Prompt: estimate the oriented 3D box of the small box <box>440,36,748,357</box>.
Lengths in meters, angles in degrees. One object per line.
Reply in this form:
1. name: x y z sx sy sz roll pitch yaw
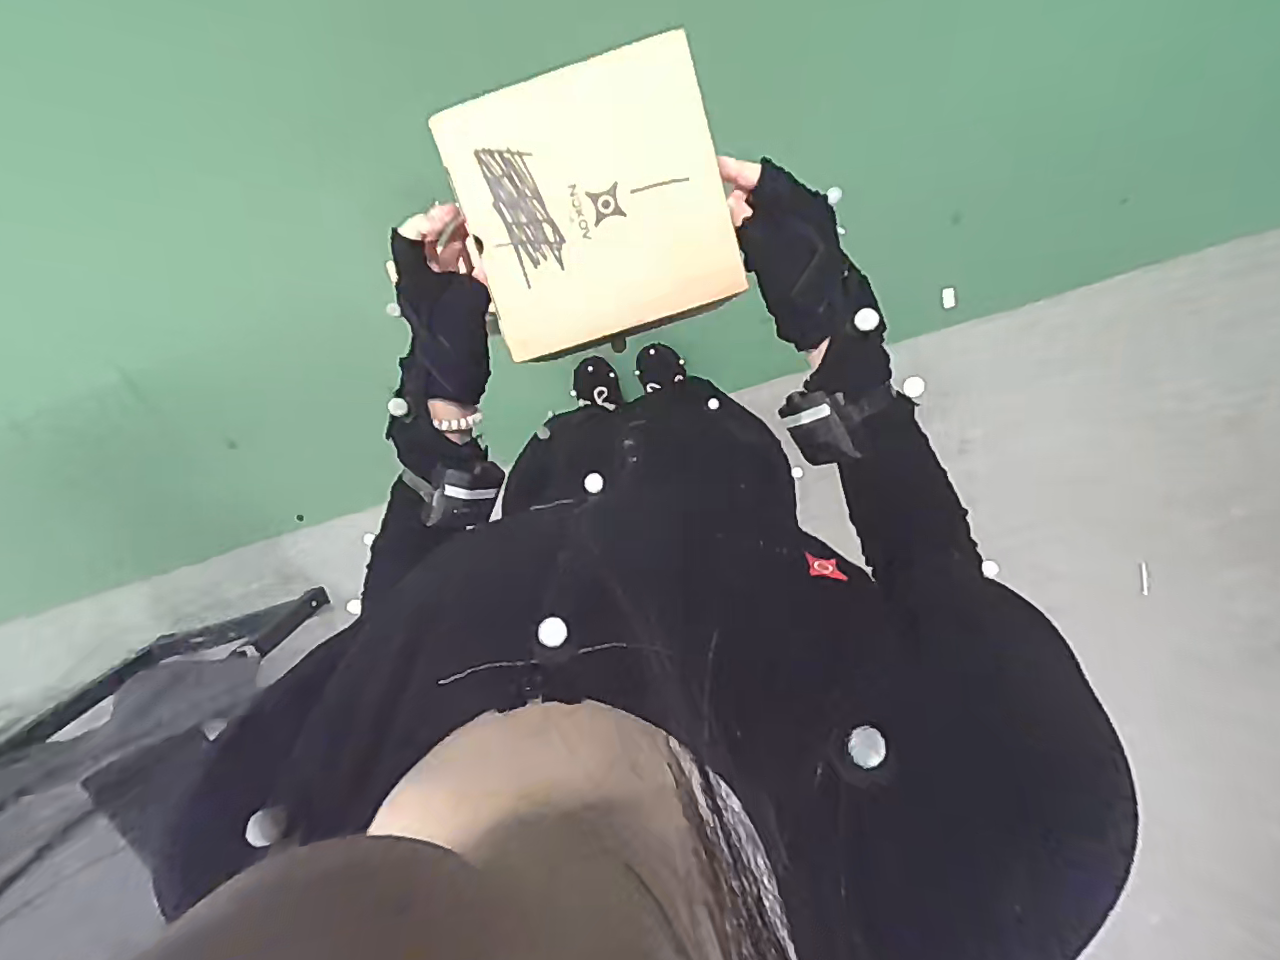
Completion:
1. small box: -0.029 -0.202 0.444 0.179 0.176 0.168 -17 103 2
